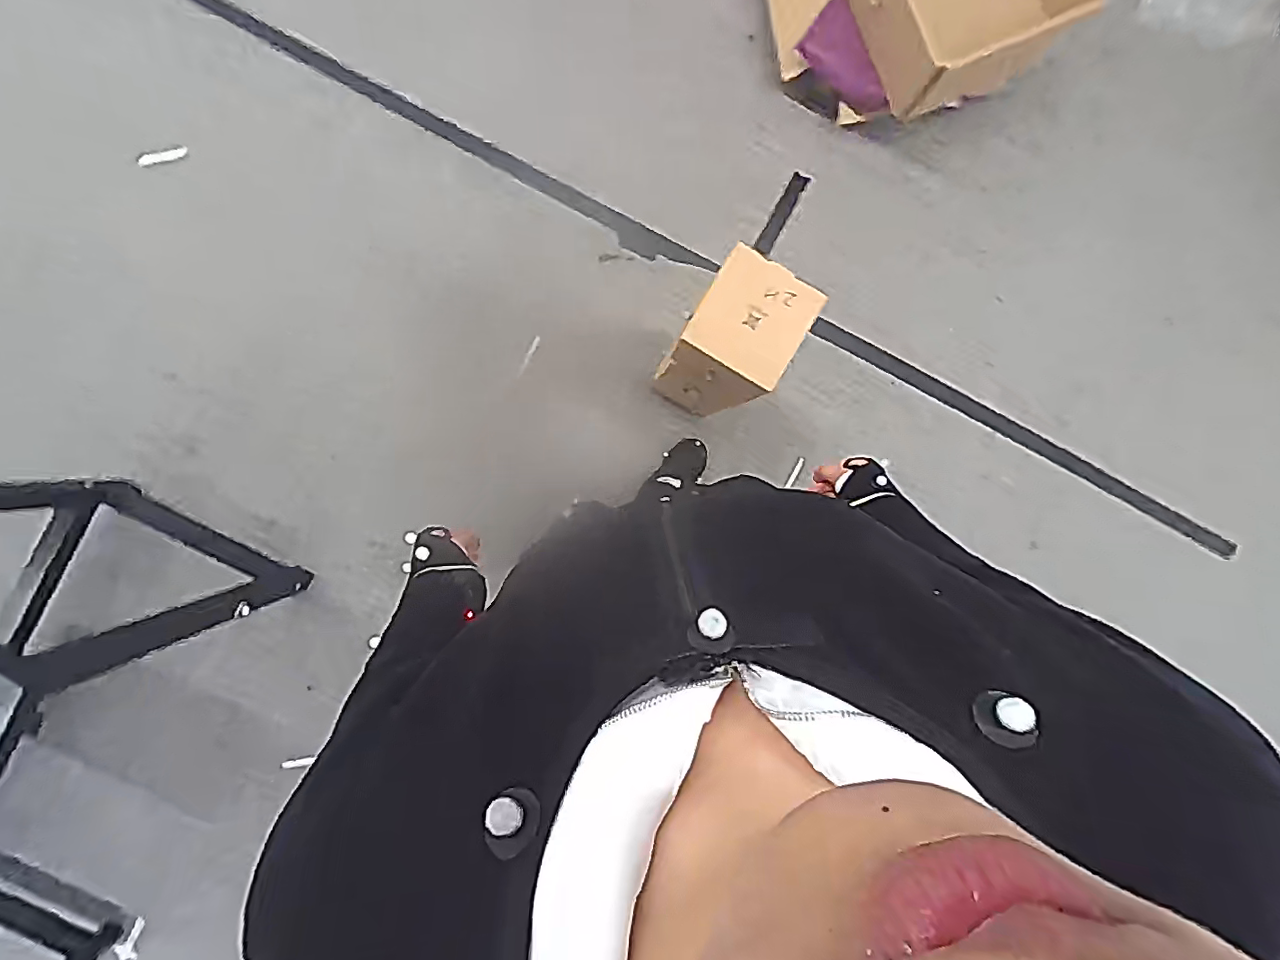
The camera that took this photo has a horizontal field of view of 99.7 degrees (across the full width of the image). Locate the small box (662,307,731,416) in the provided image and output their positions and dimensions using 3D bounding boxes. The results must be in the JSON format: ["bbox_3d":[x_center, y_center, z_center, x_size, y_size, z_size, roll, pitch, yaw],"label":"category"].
[{"bbox_3d":[0.158,-0.264,1.240,0.168,0.176,0.179,26,90,-2],"label":"small box"}]

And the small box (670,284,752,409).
[{"bbox_3d":[0.167,-0.257,1.075,0.168,0.176,0.179,26,91,-2],"label":"small box"}]

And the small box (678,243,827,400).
[{"bbox_3d":[0.176,-0.251,0.911,0.168,0.176,0.179,31,90,-3],"label":"small box"}]

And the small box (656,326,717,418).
[{"bbox_3d":[0.154,-0.272,1.403,0.179,0.176,0.168,28,91,-1],"label":"small box"}]
